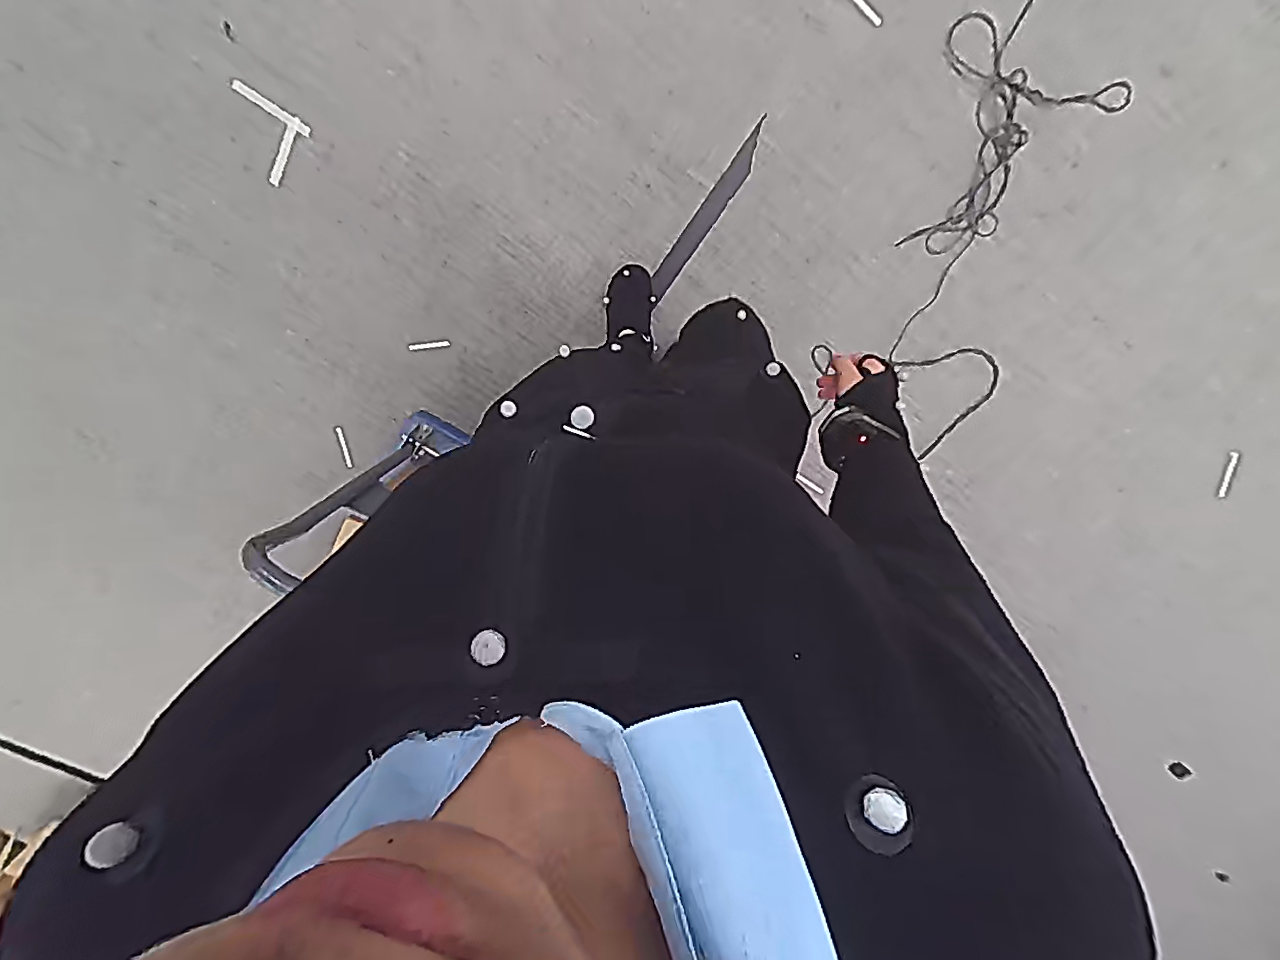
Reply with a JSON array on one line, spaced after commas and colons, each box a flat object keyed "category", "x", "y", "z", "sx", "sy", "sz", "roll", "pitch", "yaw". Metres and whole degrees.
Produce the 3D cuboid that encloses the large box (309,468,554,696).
[{"category": "large box", "x": -0.467, "y": 0.231, "z": 1.287, "sx": 0.408, "sy": 0.320, "sz": 0.320, "roll": 28, "pitch": 108, "yaw": -9}]
